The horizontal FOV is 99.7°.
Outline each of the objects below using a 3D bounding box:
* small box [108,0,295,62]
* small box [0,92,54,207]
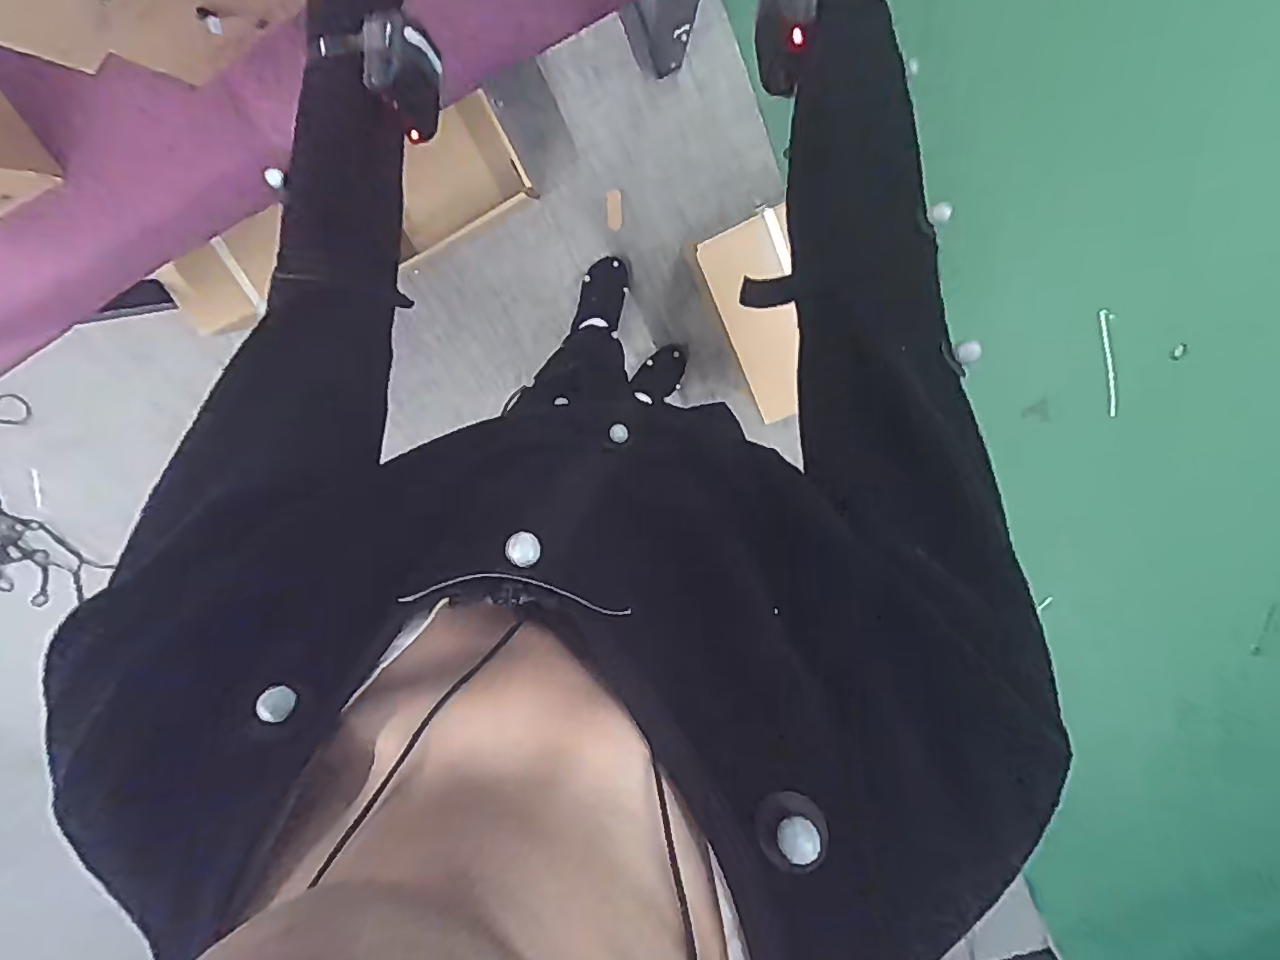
[{"bbox_3d":[-0.440,-0.502,0.463,0.168,0.176,0.179,-27,111,10],"label":"small box"},{"bbox_3d":[-0.763,-0.363,0.519,0.168,0.176,0.179,-22,113,8],"label":"small box"}]
